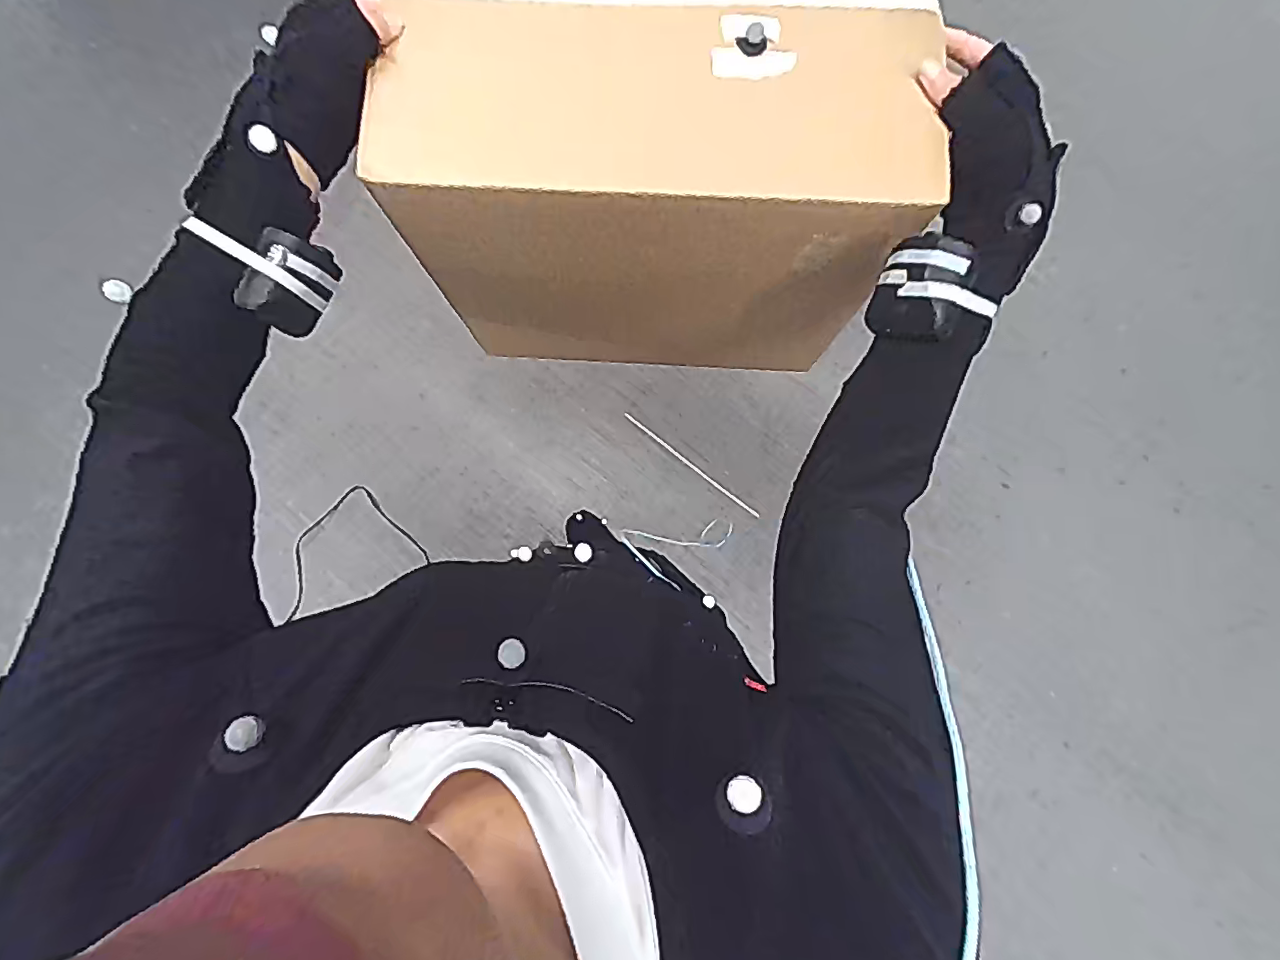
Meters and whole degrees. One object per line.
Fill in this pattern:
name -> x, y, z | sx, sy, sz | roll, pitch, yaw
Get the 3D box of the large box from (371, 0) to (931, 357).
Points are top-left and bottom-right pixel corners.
large box -> 0.008, -0.332, 0.551 | 0.408, 0.320, 0.320 | 2, 80, -1
